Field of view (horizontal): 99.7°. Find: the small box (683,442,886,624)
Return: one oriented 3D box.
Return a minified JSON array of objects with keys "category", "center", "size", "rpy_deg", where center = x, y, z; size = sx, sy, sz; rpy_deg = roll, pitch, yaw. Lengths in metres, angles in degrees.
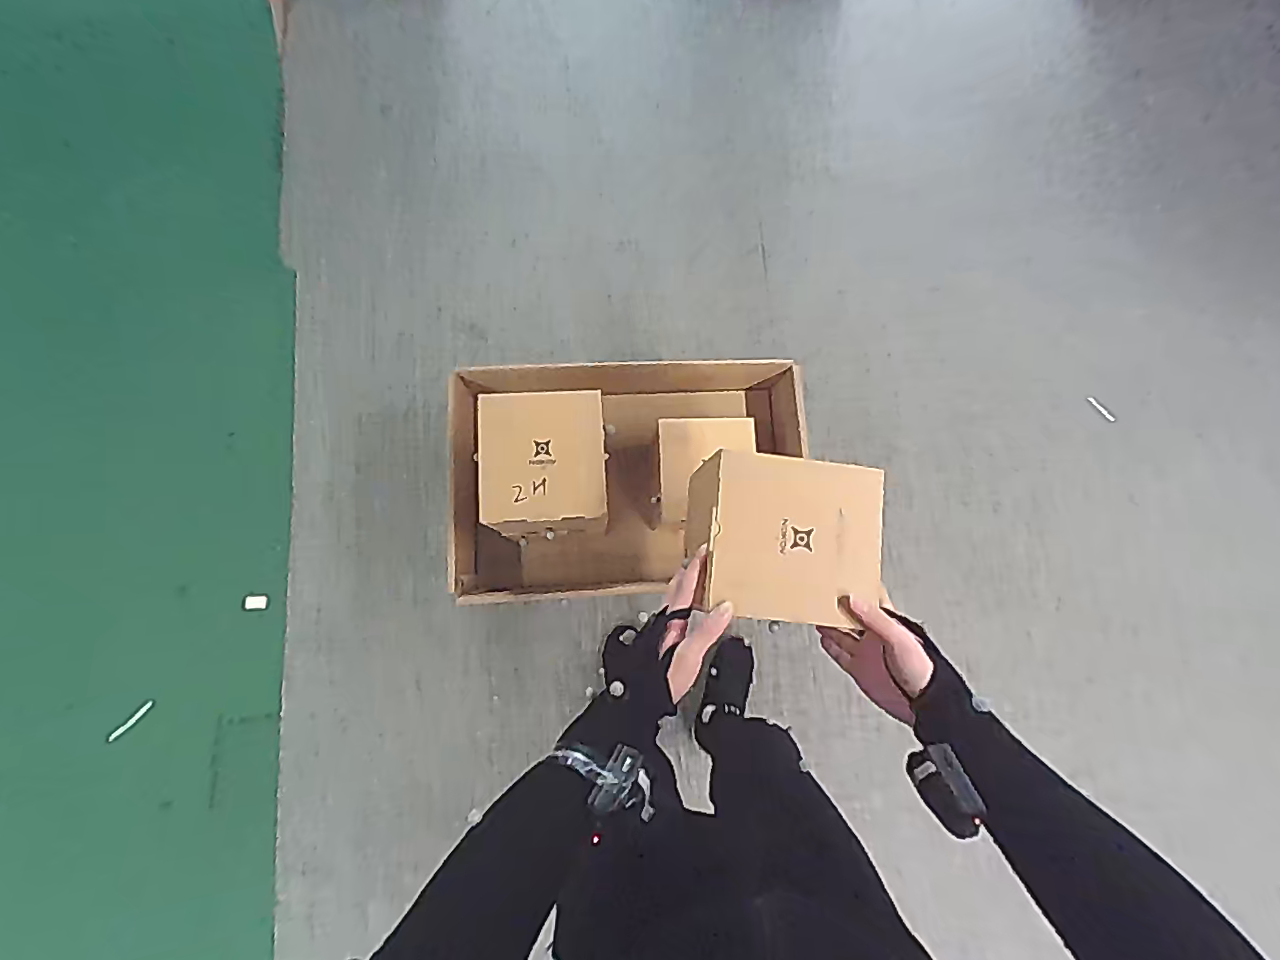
[{"category":"small box","center":[0.151,0.065,0.614],"size":[0.179,0.176,0.168],"rpy_deg":[7,80,-5]}]

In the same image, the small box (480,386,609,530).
[{"category":"small box","center":[-0.132,-0.025,0.782],"size":[0.168,0.176,0.179],"rpy_deg":[-2,81,-5]}]
